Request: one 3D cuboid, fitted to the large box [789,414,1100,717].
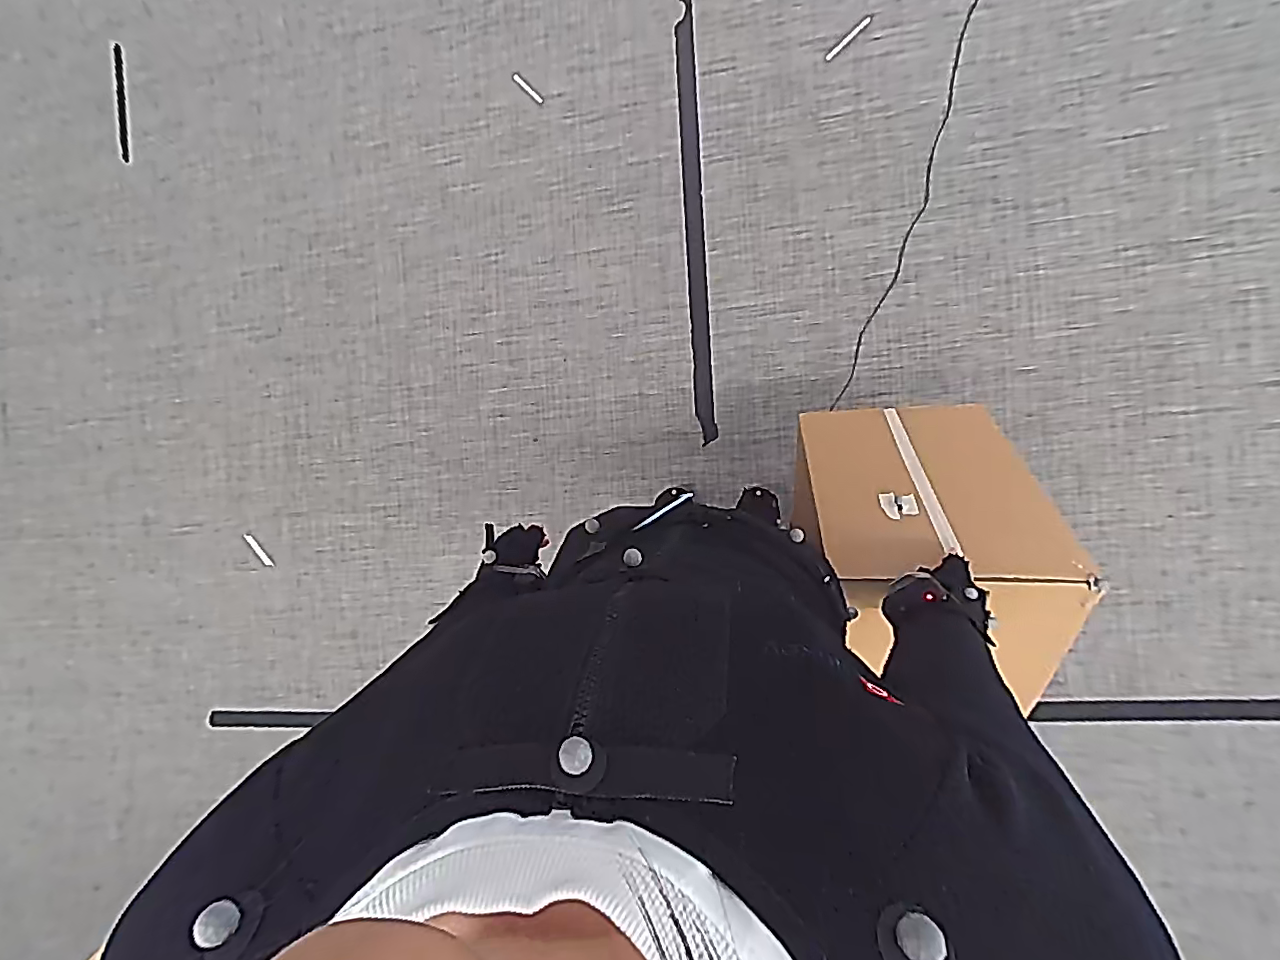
[{"bbox_3d":[0.438,0.126,0.912,0.320,0.408,0.320,-2,129,10],"label":"large box"}]
